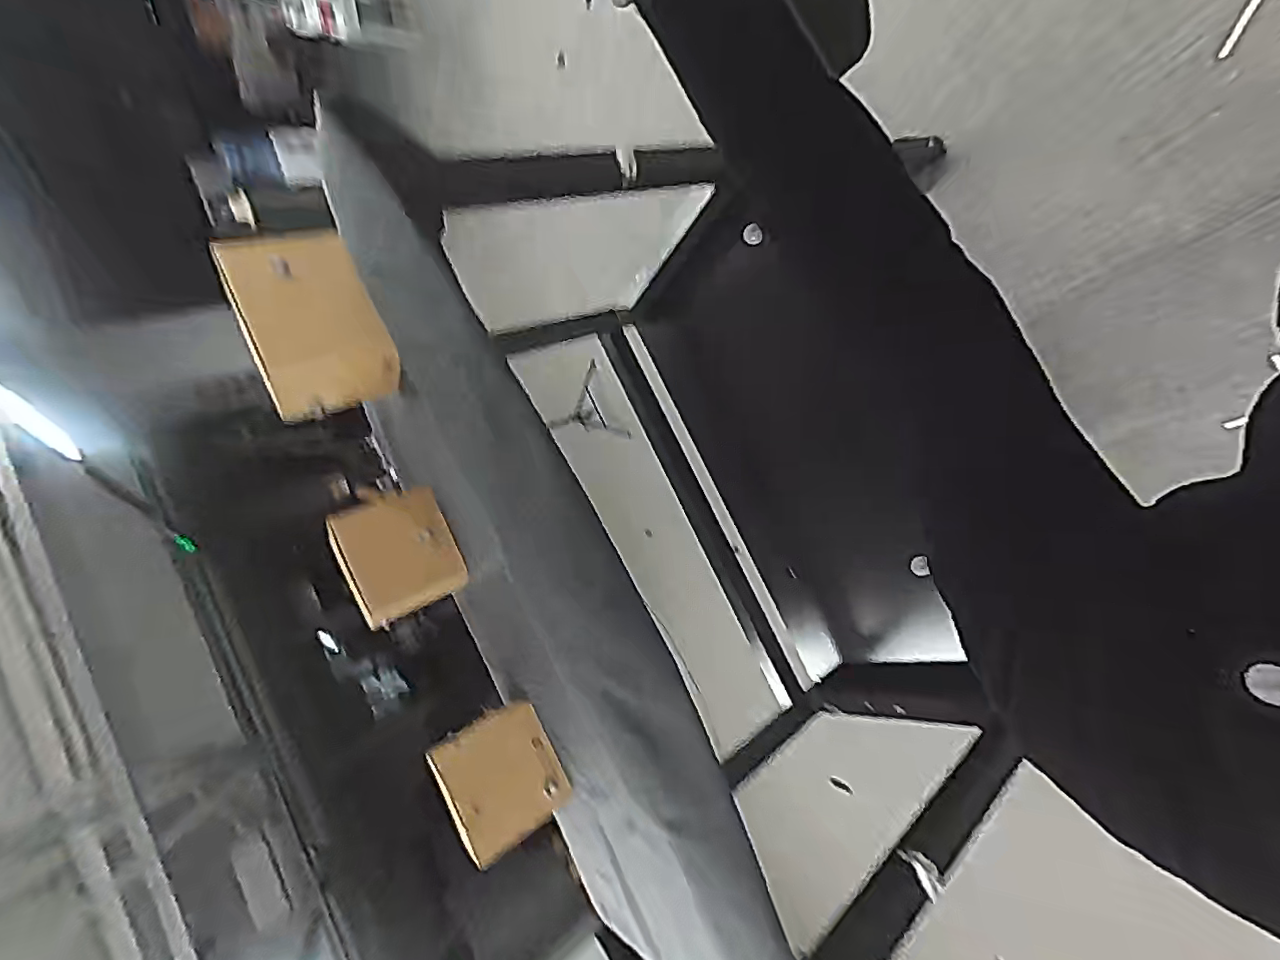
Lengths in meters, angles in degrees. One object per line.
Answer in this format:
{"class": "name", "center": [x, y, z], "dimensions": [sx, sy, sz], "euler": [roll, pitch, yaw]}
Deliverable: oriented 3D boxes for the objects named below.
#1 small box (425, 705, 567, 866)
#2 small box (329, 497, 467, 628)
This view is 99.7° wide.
{"class": "small box", "center": [-0.243, 0.501, 0.918], "dimensions": [0.168, 0.176, 0.179], "euler": [62, 149, 8]}
{"class": "small box", "center": [-0.431, 0.143, 0.966], "dimensions": [0.179, 0.176, 0.168], "euler": [63, 149, 6]}
